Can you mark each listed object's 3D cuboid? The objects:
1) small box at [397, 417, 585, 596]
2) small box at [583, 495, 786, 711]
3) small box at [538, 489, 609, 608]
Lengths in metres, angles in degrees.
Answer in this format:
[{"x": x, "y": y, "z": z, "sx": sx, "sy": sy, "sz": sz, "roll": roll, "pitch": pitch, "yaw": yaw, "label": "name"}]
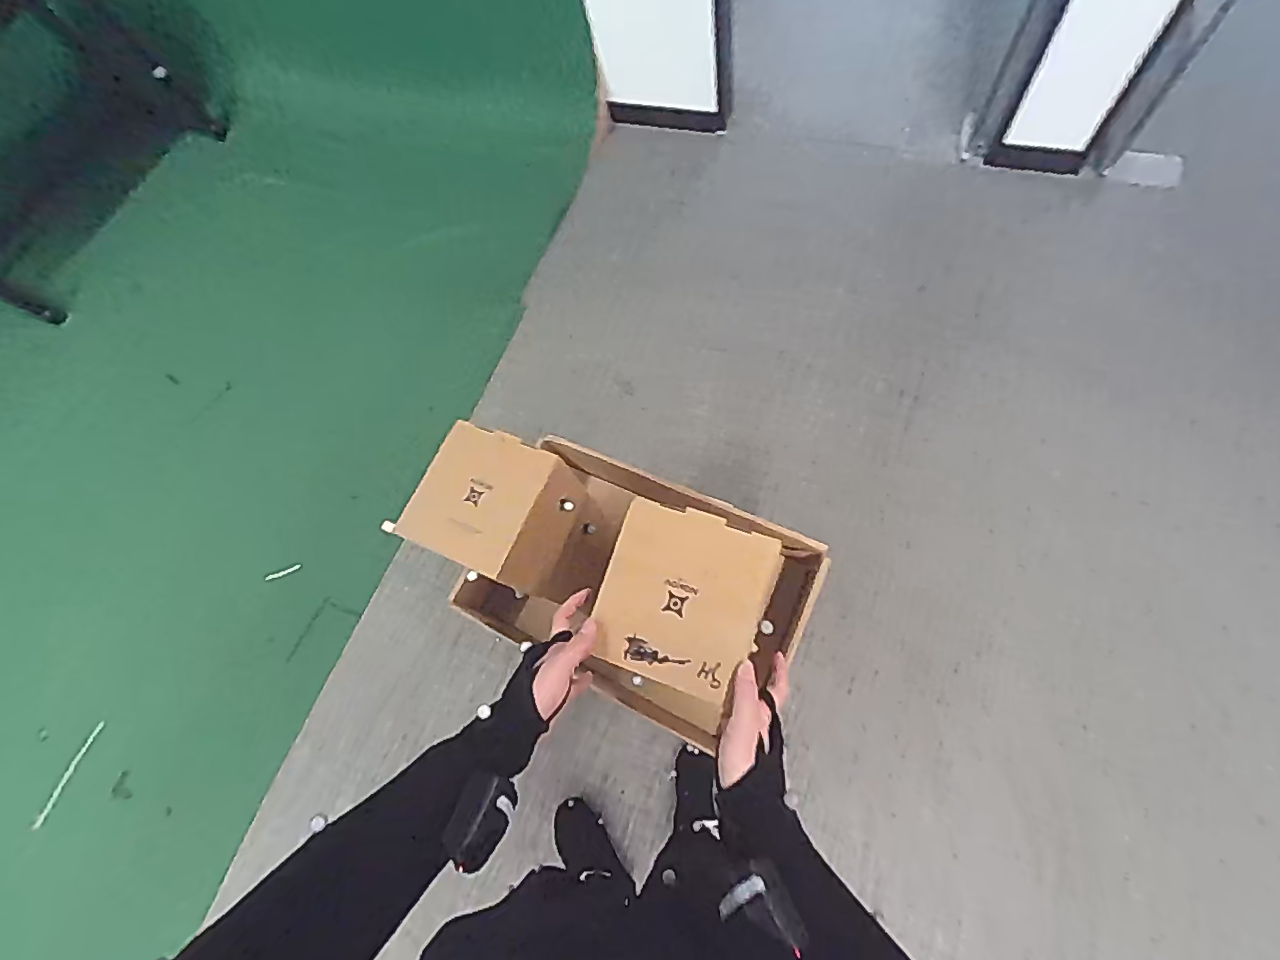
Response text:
[{"x": -0.193, "y": 0.044, "z": 0.766, "sx": 0.168, "sy": 0.176, "sz": 0.179, "roll": 21, "pitch": 74, "yaw": 18, "label": "small box"}, {"x": 0.059, "y": 0.139, "z": 0.625, "sx": 0.168, "sy": 0.176, "sz": 0.179, "roll": 17, "pitch": 79, "yaw": 16, "label": "small box"}, {"x": -0.166, "y": 0.099, "z": 0.917, "sx": 0.168, "sy": 0.176, "sz": 0.179, "roll": 20, "pitch": 74, "yaw": 17, "label": "small box"}]
